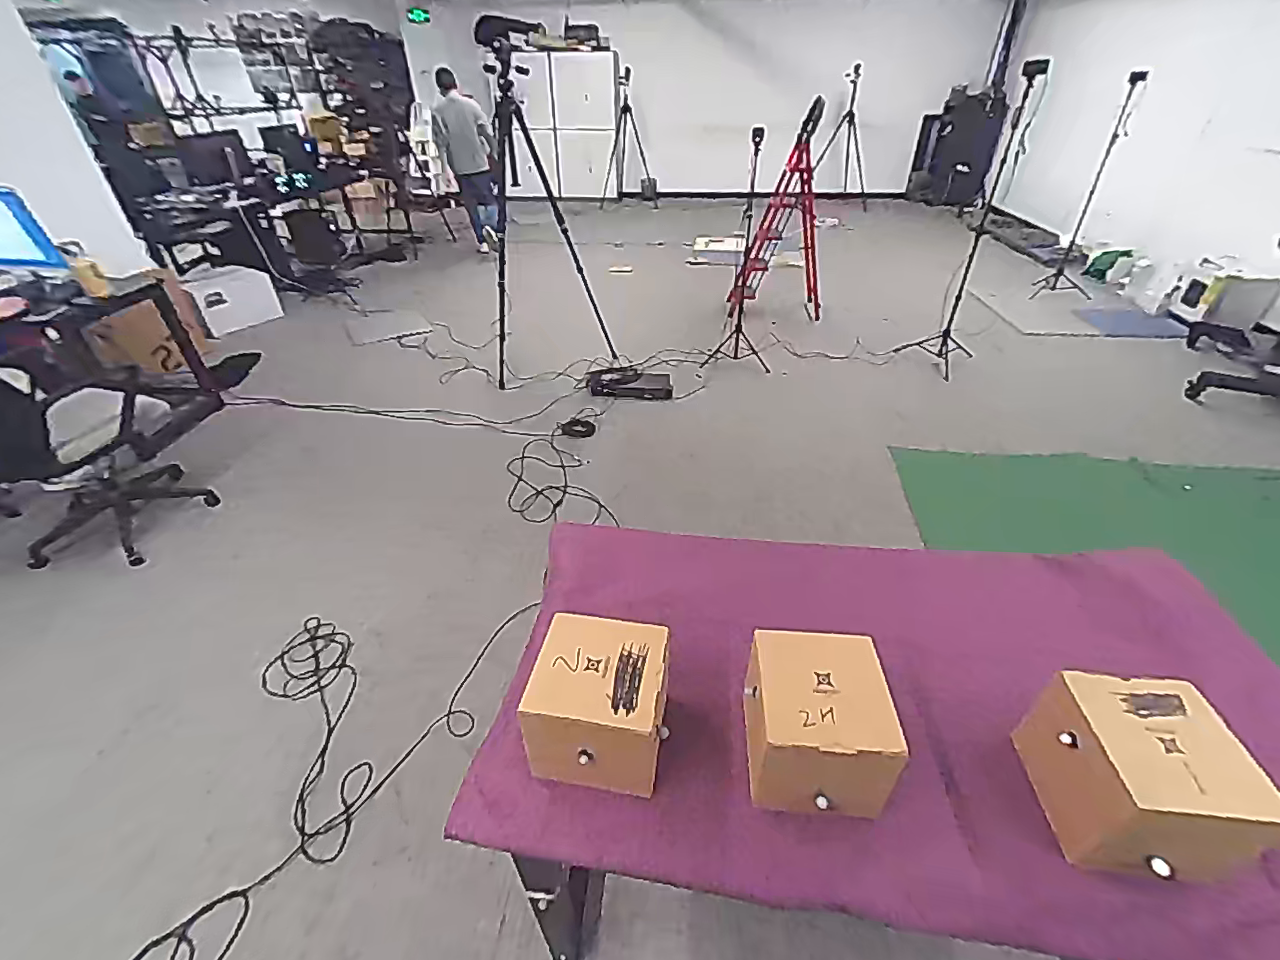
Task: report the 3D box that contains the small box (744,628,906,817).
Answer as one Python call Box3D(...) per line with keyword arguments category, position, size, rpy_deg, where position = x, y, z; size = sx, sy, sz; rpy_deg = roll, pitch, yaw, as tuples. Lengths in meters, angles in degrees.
Box3D(category="small box", position=(0.240, 0.334, 0.755), size=(0.168, 0.176, 0.179), rpy_deg=(2, 35, 4))

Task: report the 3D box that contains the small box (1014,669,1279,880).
Box3D(category="small box", position=(0.629, 0.375, 0.698), size=(0.168, 0.176, 0.179), rpy_deg=(3, 37, 5))
